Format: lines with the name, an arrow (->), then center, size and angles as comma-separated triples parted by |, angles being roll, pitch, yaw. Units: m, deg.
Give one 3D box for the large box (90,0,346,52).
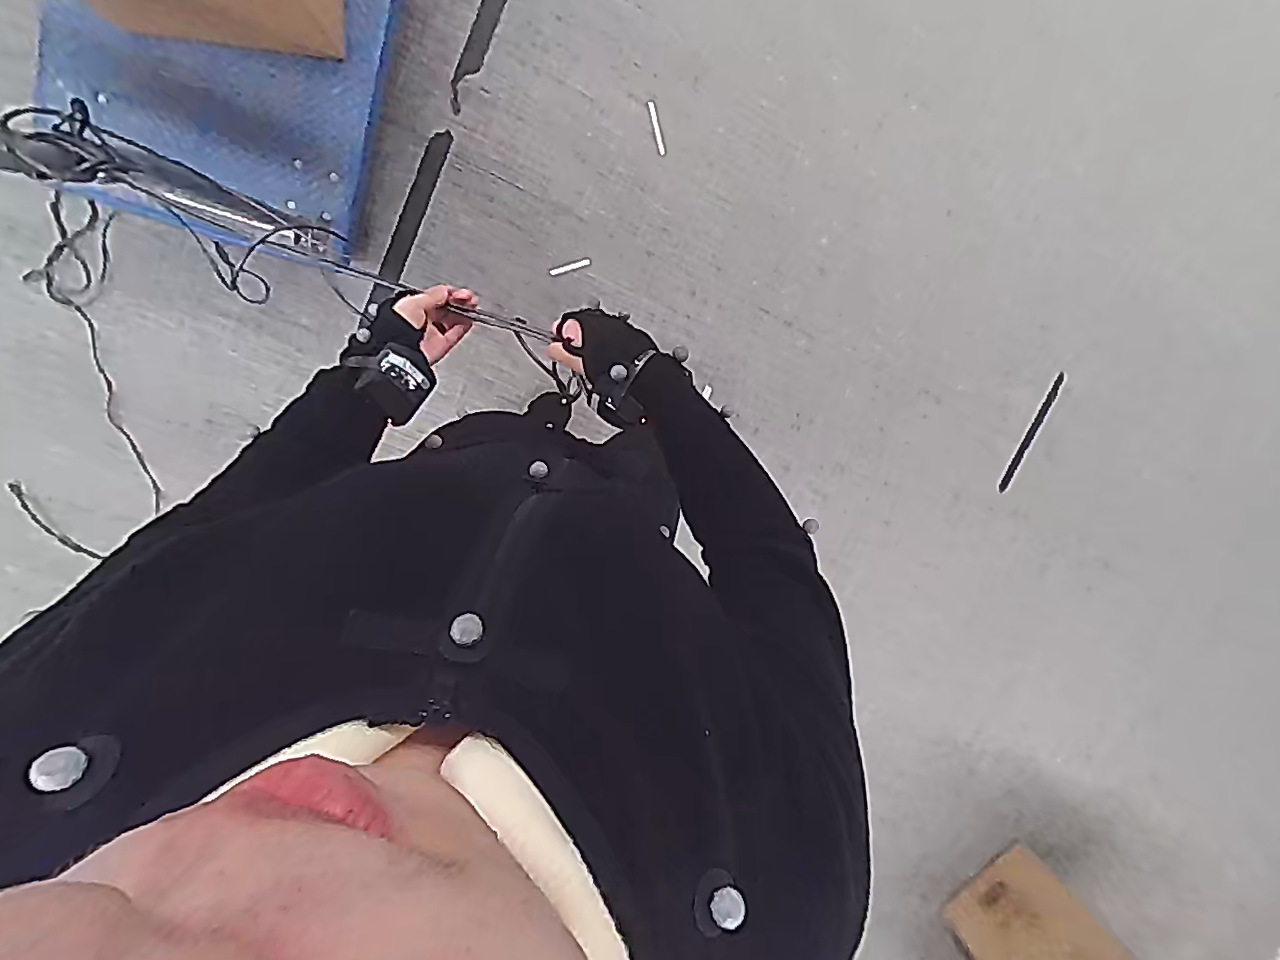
large box -> -0.748, -0.961, 0.866 | 0.408, 0.320, 0.320 | 1, 103, -9
